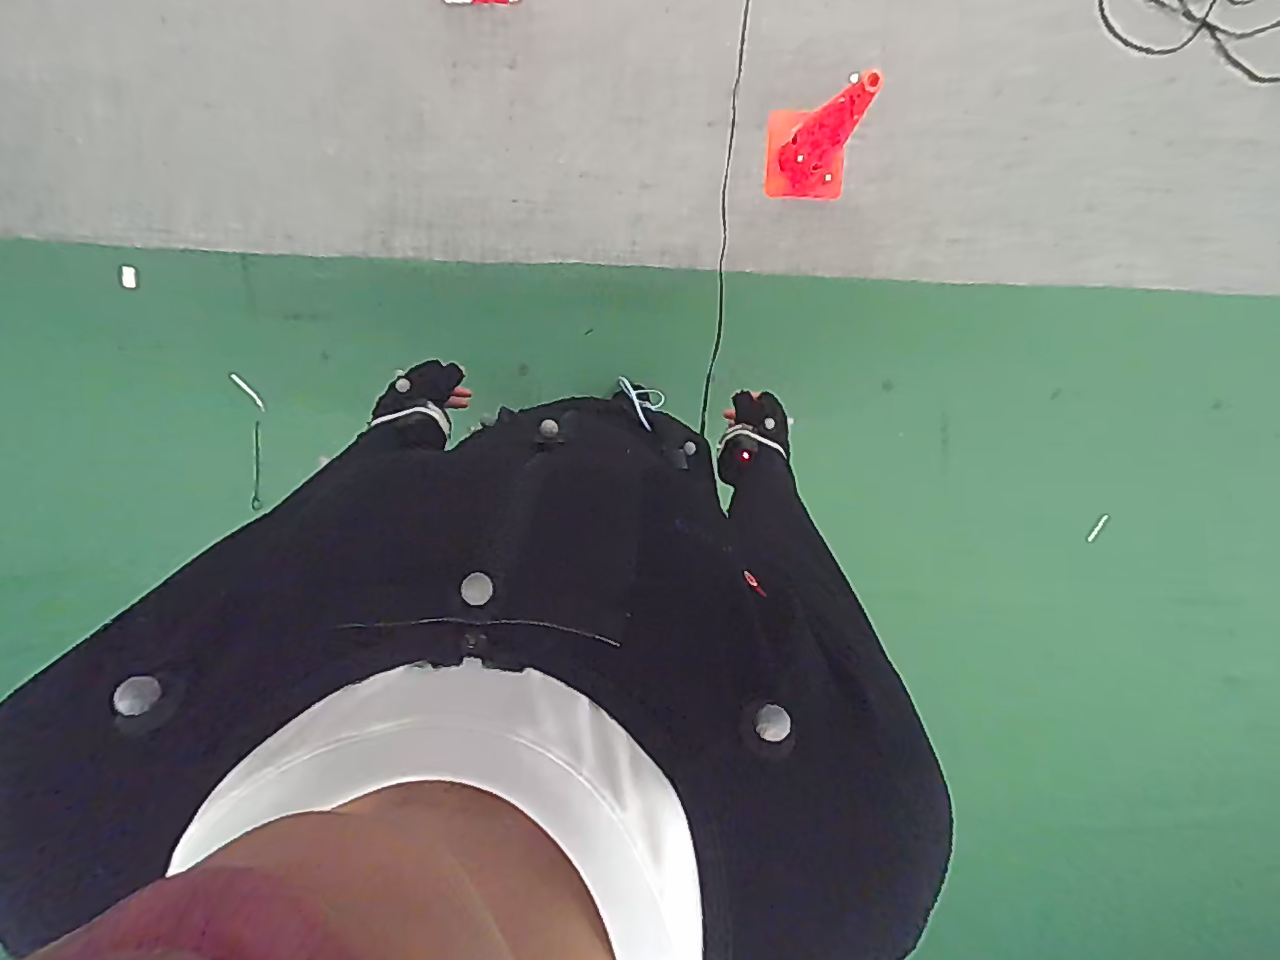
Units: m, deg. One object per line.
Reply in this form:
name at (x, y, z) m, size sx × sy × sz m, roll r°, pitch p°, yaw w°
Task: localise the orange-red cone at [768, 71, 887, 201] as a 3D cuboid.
orange-red cone at (0.437, -0.791, 1.200) m, size 0.198 × 0.360 × 0.199 m, roll 1°, pitch 99°, yaw -5°
